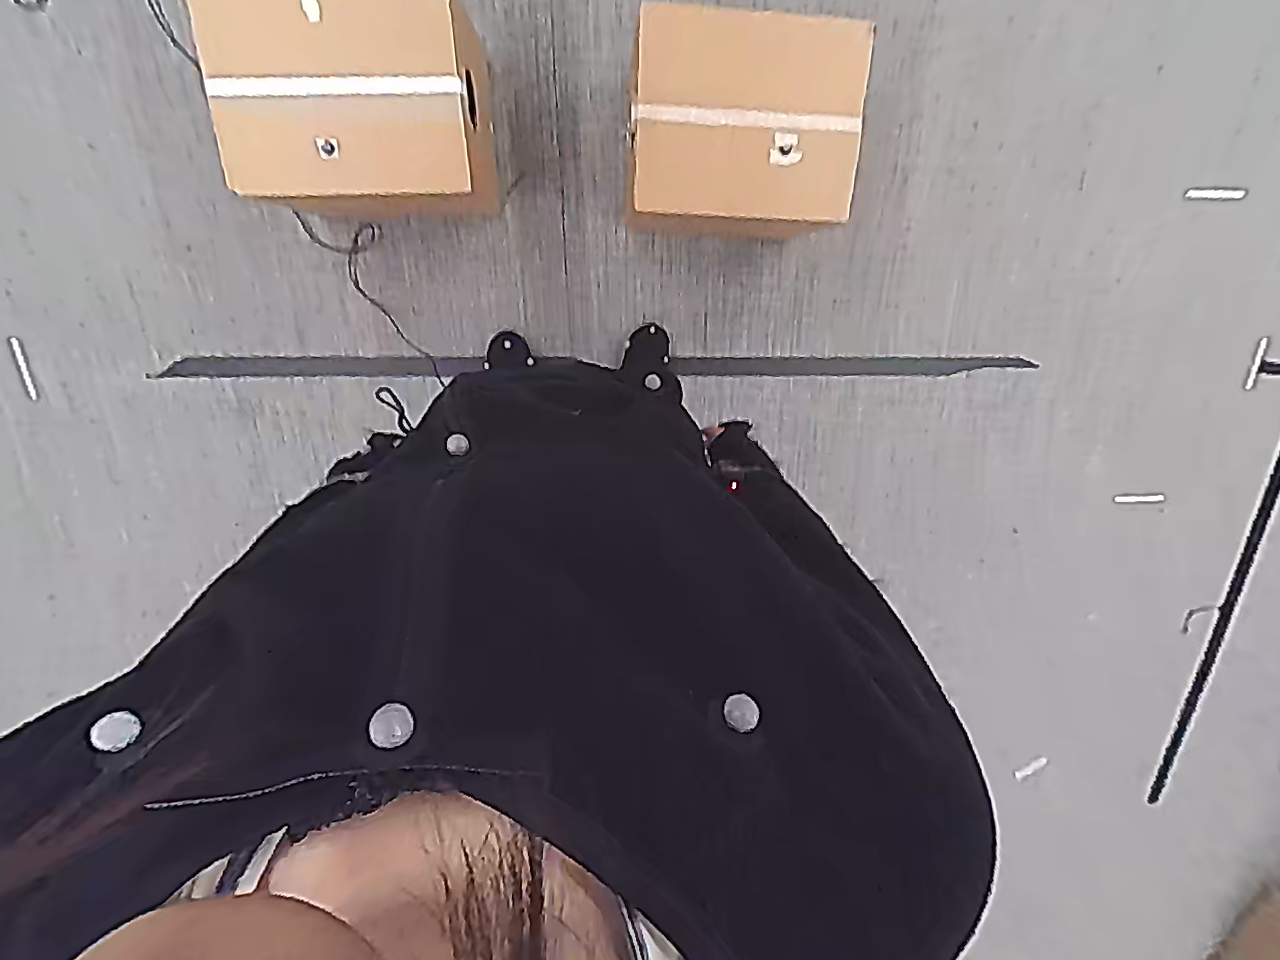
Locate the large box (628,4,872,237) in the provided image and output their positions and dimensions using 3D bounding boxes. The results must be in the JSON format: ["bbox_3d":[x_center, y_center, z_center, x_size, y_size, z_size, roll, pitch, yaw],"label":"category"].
[{"bbox_3d":[0.184,-0.684,1.095,0.408,0.320,0.320,1,109,-6],"label":"large box"}]
